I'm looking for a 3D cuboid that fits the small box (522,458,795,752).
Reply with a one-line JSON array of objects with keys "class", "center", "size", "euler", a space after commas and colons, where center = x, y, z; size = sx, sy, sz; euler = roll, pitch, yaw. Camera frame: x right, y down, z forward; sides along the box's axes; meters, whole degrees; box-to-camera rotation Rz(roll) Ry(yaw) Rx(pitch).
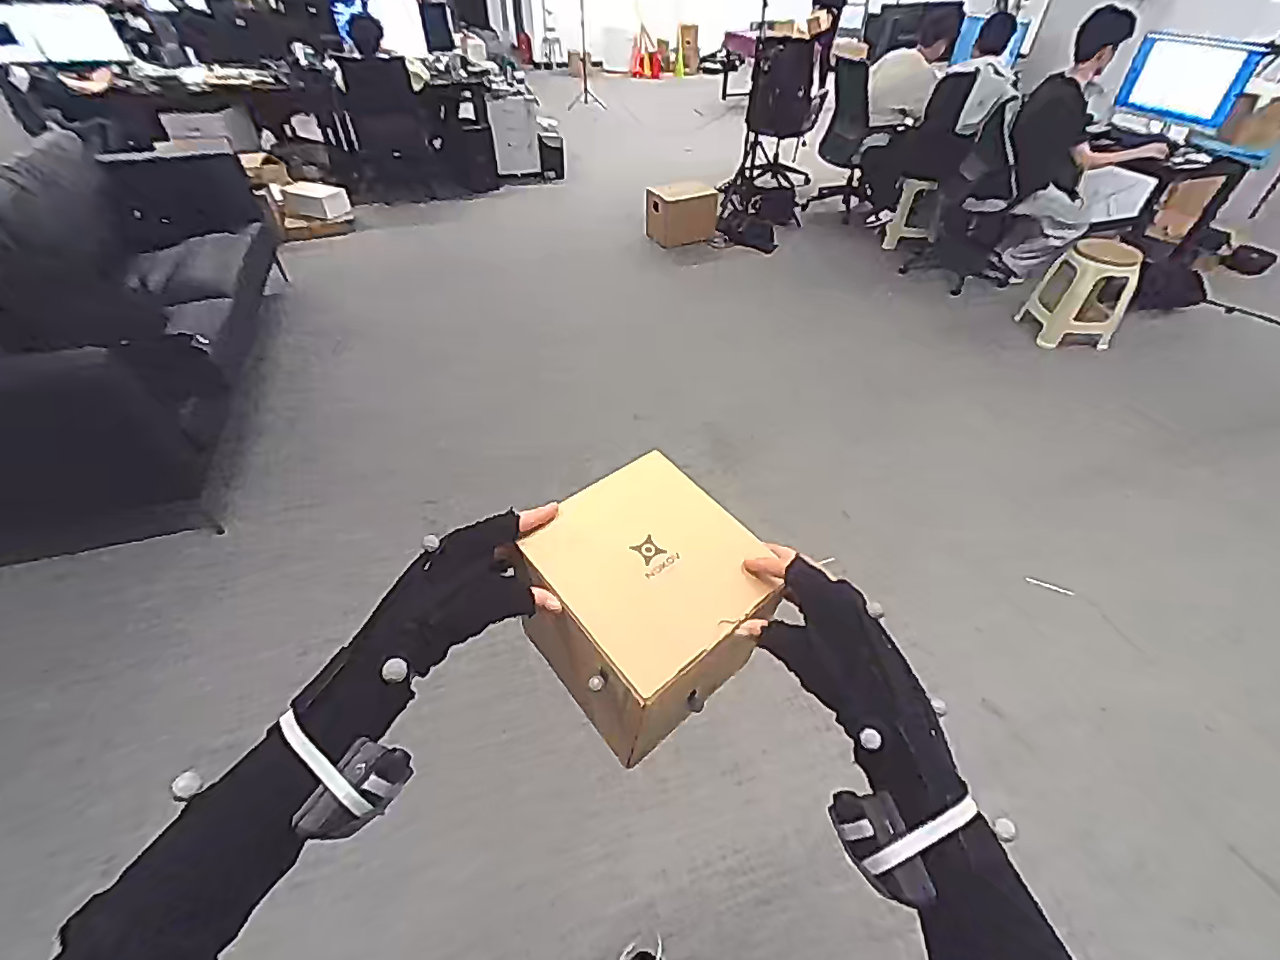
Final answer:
[{"class": "small box", "center": [0.006, 0.117, 0.510], "size": [0.168, 0.176, 0.179], "euler": [-30, 59, -29]}]
